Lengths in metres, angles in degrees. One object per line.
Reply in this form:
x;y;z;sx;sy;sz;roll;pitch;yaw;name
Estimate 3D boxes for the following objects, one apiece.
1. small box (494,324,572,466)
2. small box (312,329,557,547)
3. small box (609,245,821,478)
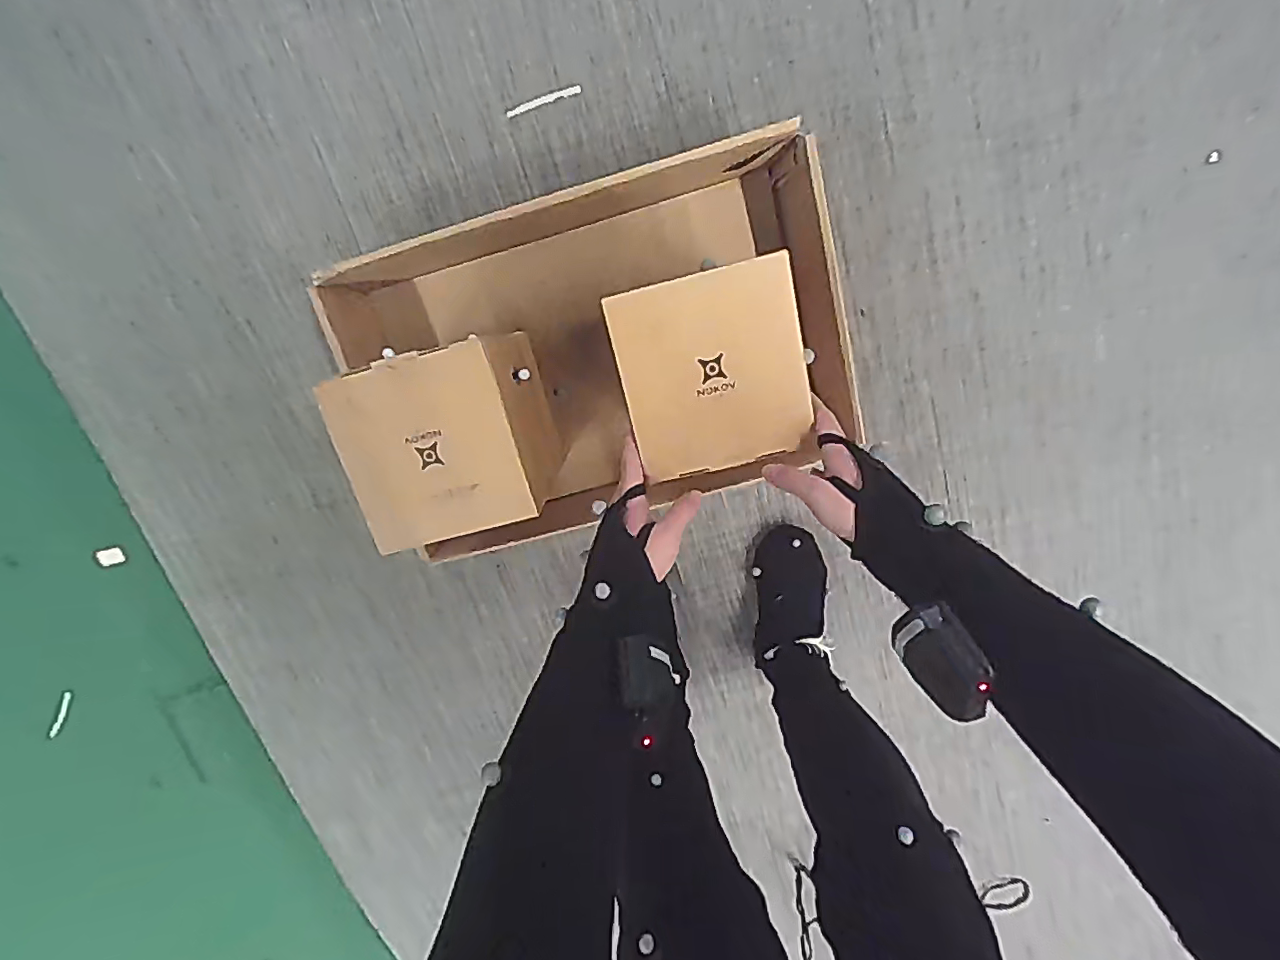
-0.198;-0.102;0.728;0.168;0.176;0.179;-13;105;4;small box
-0.195;-0.055;0.573;0.168;0.176;0.179;-13;106;3;small box
0.069;-0.121;0.554;0.168;0.176;0.179;-13;106;5;small box
